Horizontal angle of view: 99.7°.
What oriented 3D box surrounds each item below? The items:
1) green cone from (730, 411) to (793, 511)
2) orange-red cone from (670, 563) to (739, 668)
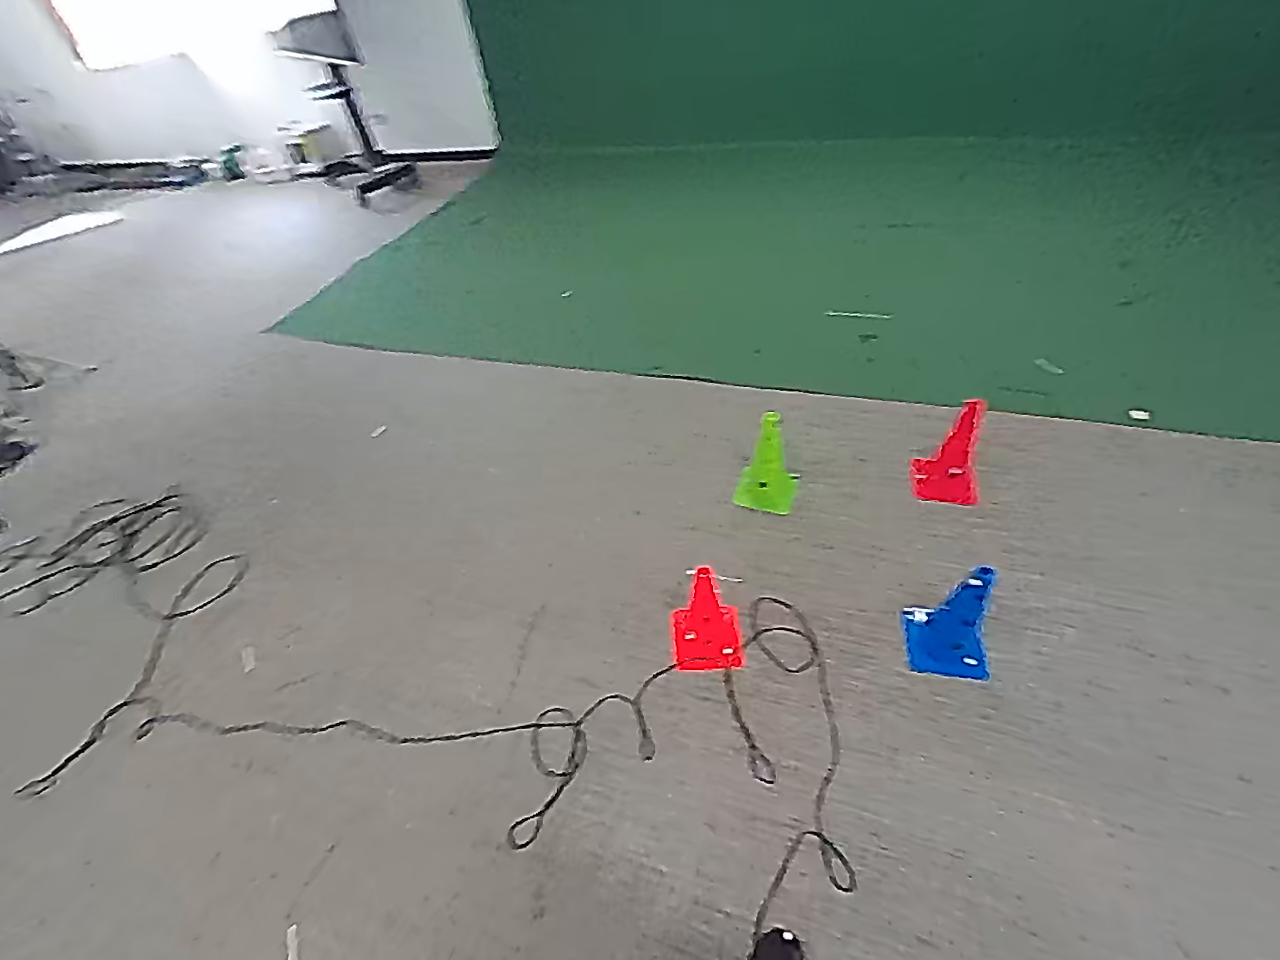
[{"bbox_3d":[0.423,-0.091,1.849,0.200,0.368,0.202,11,51,19],"label":"green cone"},{"bbox_3d":[0.172,0.344,1.483,0.198,0.360,0.199,-4,45,4],"label":"orange-red cone"}]
